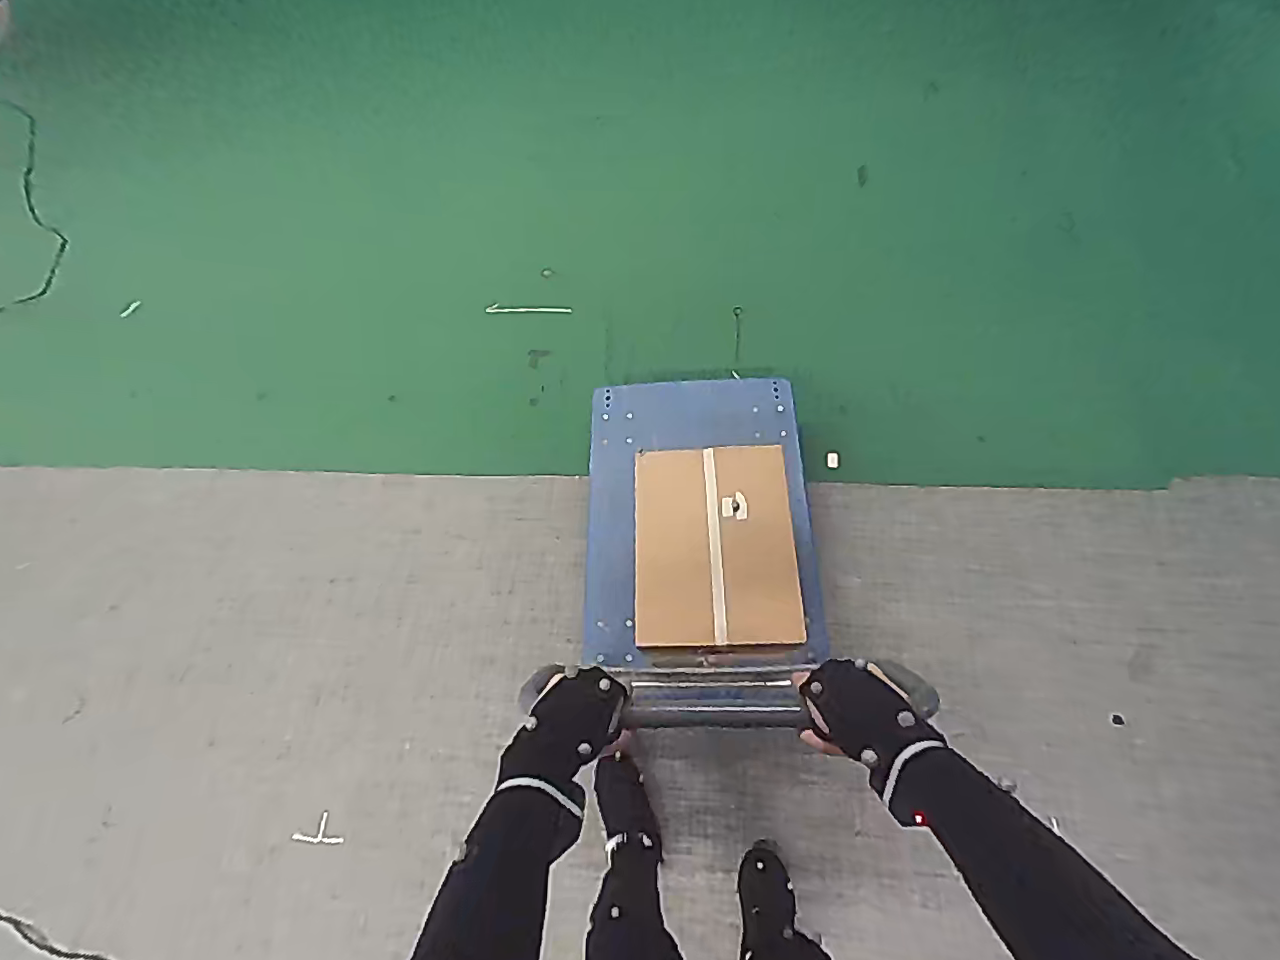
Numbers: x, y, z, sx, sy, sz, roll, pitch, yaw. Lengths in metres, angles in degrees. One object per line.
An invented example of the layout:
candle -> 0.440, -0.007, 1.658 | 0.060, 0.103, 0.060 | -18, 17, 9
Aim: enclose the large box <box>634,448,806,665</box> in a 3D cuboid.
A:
large box -> 0.160, 0.183, 1.205 | 0.320, 0.320, 0.408 | -3, 65, 4
